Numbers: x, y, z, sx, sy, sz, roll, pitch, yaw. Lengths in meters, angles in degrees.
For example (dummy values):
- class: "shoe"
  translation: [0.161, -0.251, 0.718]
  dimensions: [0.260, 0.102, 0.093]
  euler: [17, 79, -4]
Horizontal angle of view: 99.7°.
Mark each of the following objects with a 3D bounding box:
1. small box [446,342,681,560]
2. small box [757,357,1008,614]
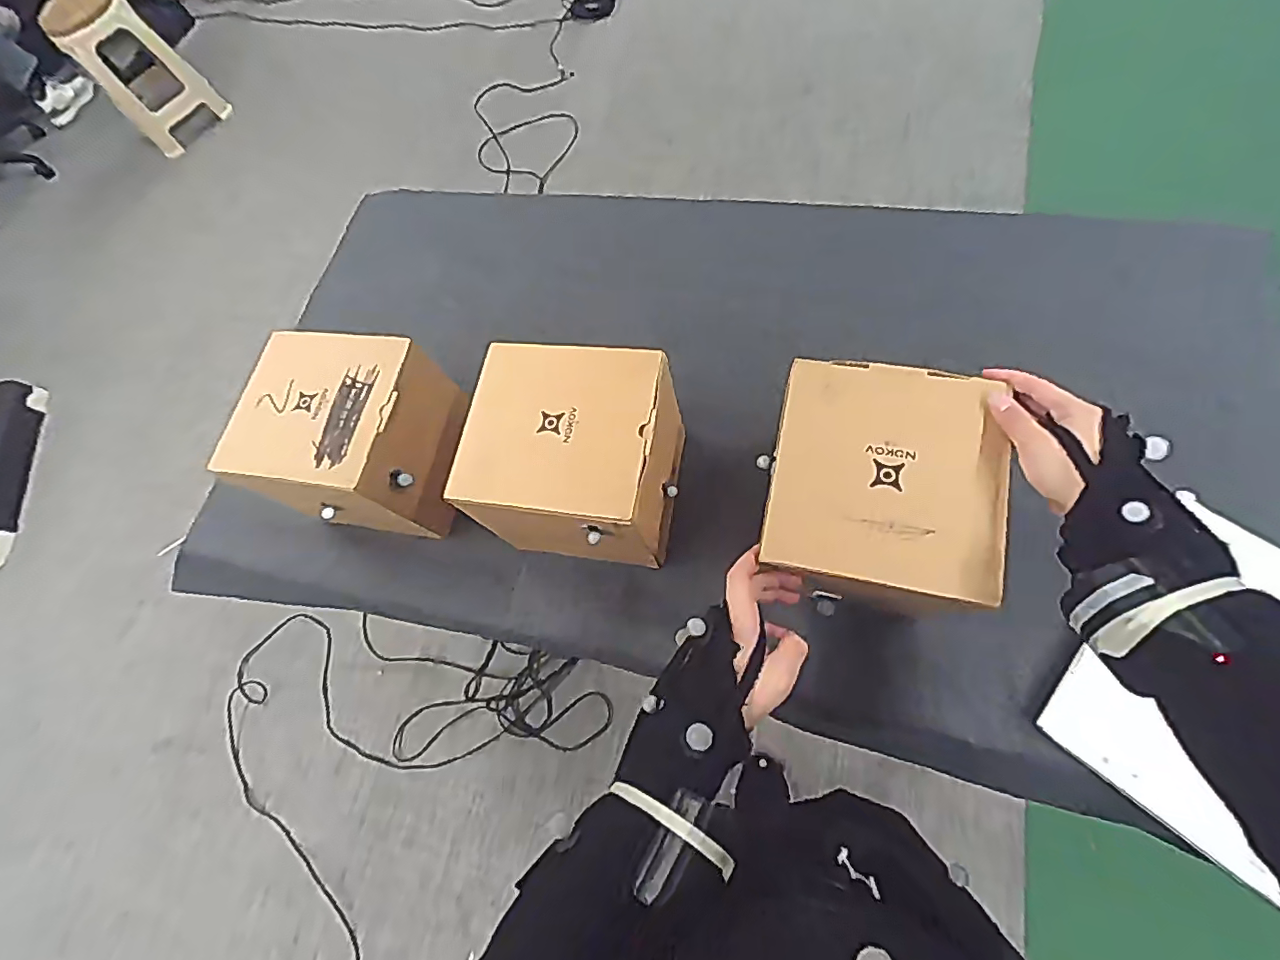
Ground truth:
- class: "small box"
  translation: [-0.061, -0.022, 0.558]
  dimensions: [0.179, 0.176, 0.168]
  euler: [6, 70, 12]
- class: "small box"
  translation: [0.201, 0.014, 0.488]
  dimensions: [0.168, 0.176, 0.179]
  euler: [9, 75, 14]
